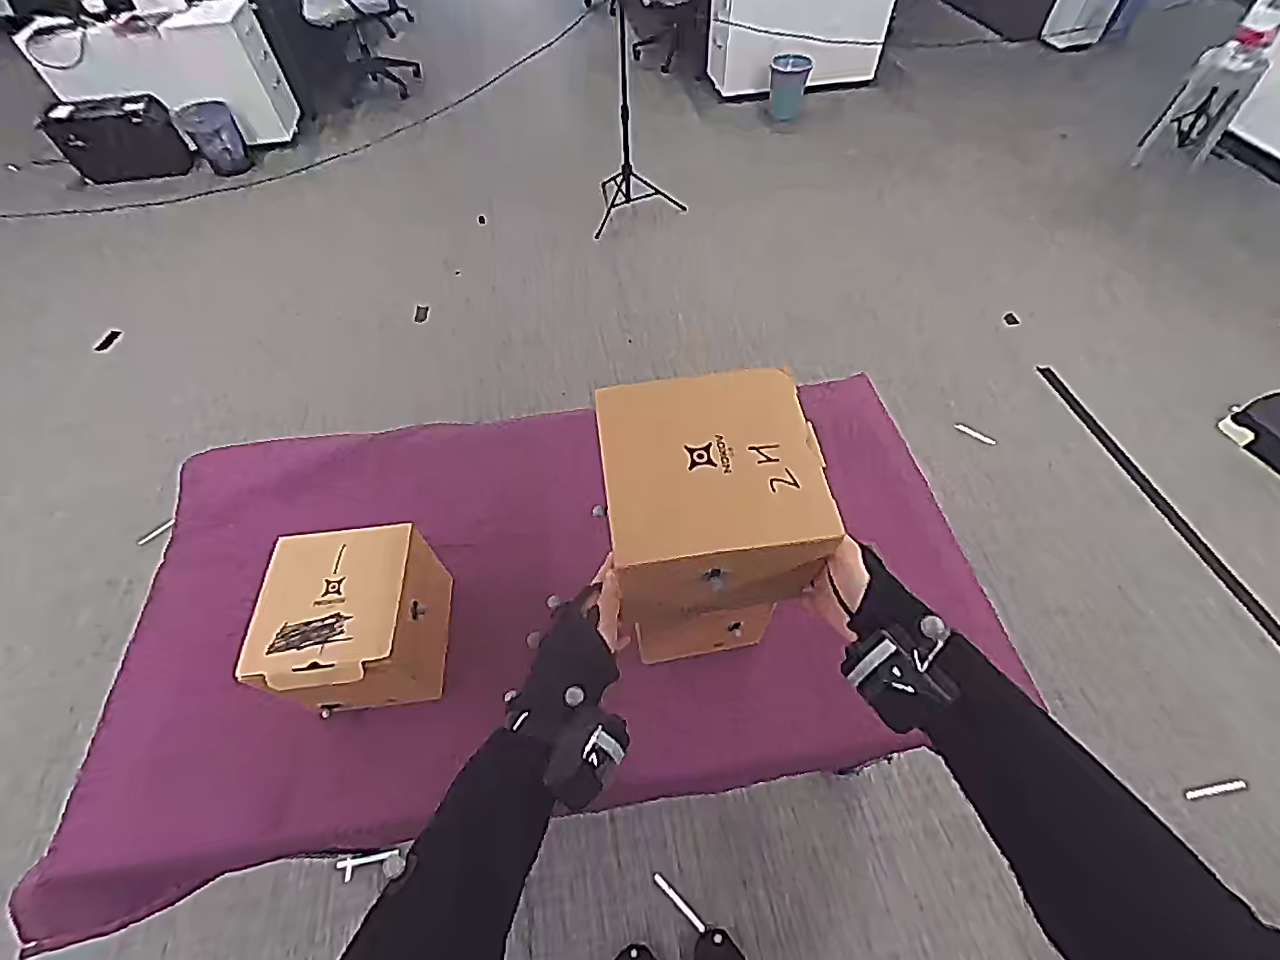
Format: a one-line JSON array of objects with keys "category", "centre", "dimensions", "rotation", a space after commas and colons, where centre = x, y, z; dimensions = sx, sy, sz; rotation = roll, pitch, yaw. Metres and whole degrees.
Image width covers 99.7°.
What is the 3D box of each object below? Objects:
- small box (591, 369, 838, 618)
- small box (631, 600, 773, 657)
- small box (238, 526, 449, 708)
[{"category": "small box", "centre": [0.055, 0.021, 0.506], "dimensions": [0.179, 0.176, 0.168], "rotation": [-7, 61, -3]}, {"category": "small box", "centre": [0.065, 0.122, 0.720], "dimensions": [0.168, 0.176, 0.179], "rotation": [-9, 55, -5]}, {"category": "small box", "centre": [-0.354, 0.181, 0.689], "dimensions": [0.168, 0.176, 0.179], "rotation": [-6, 54, -3]}]
